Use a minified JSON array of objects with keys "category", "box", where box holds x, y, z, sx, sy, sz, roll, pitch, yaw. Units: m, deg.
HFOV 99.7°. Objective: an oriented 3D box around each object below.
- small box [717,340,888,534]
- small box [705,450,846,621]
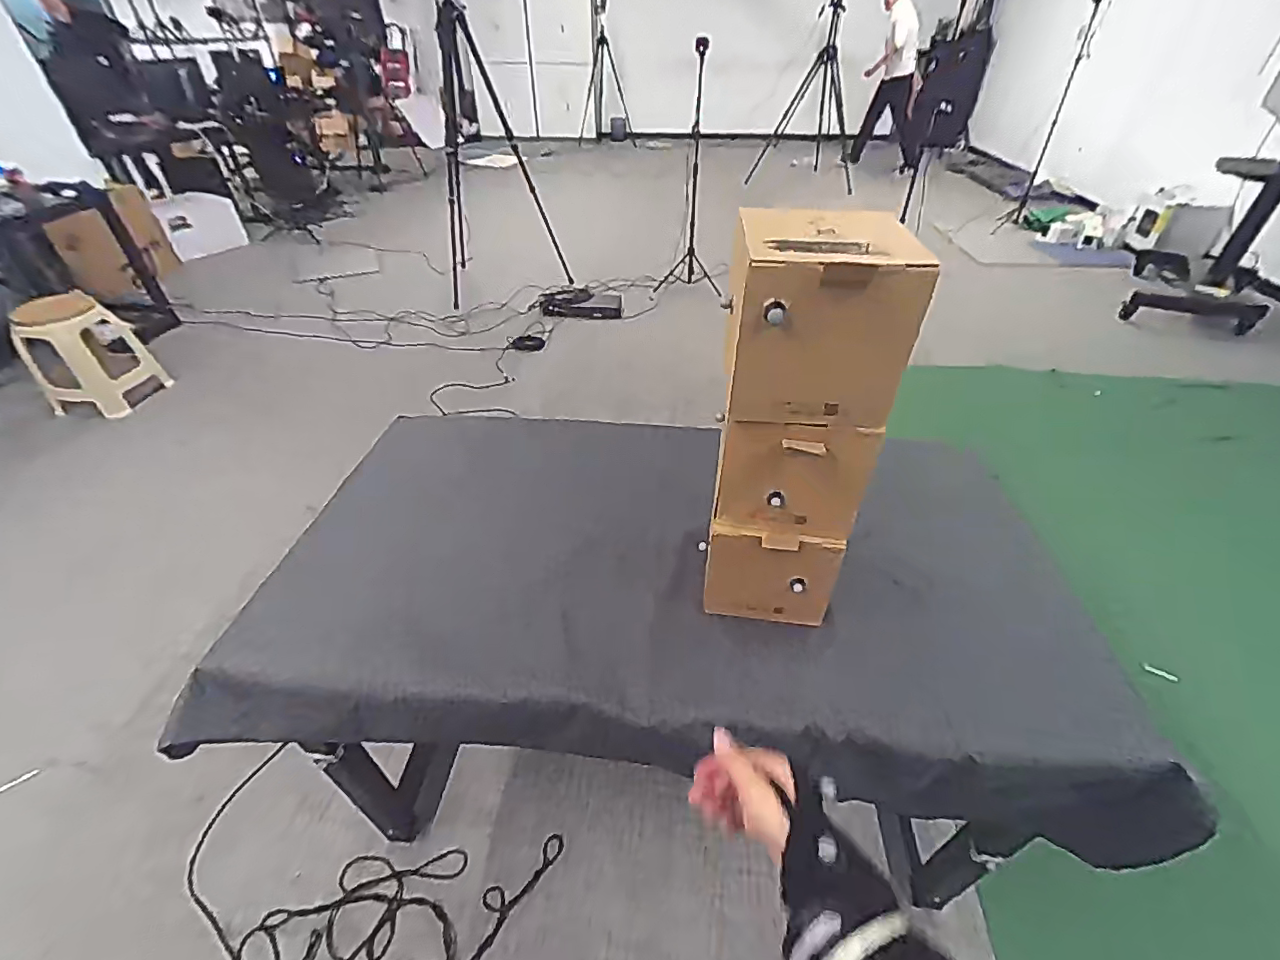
[{"category":"small box","box":[0.190,-0.055,0.684,0.168,0.176,0.179,7,41,7]},{"category":"small box","box":[0.184,0.079,0.777,0.168,0.176,0.179,6,39,6]}]
